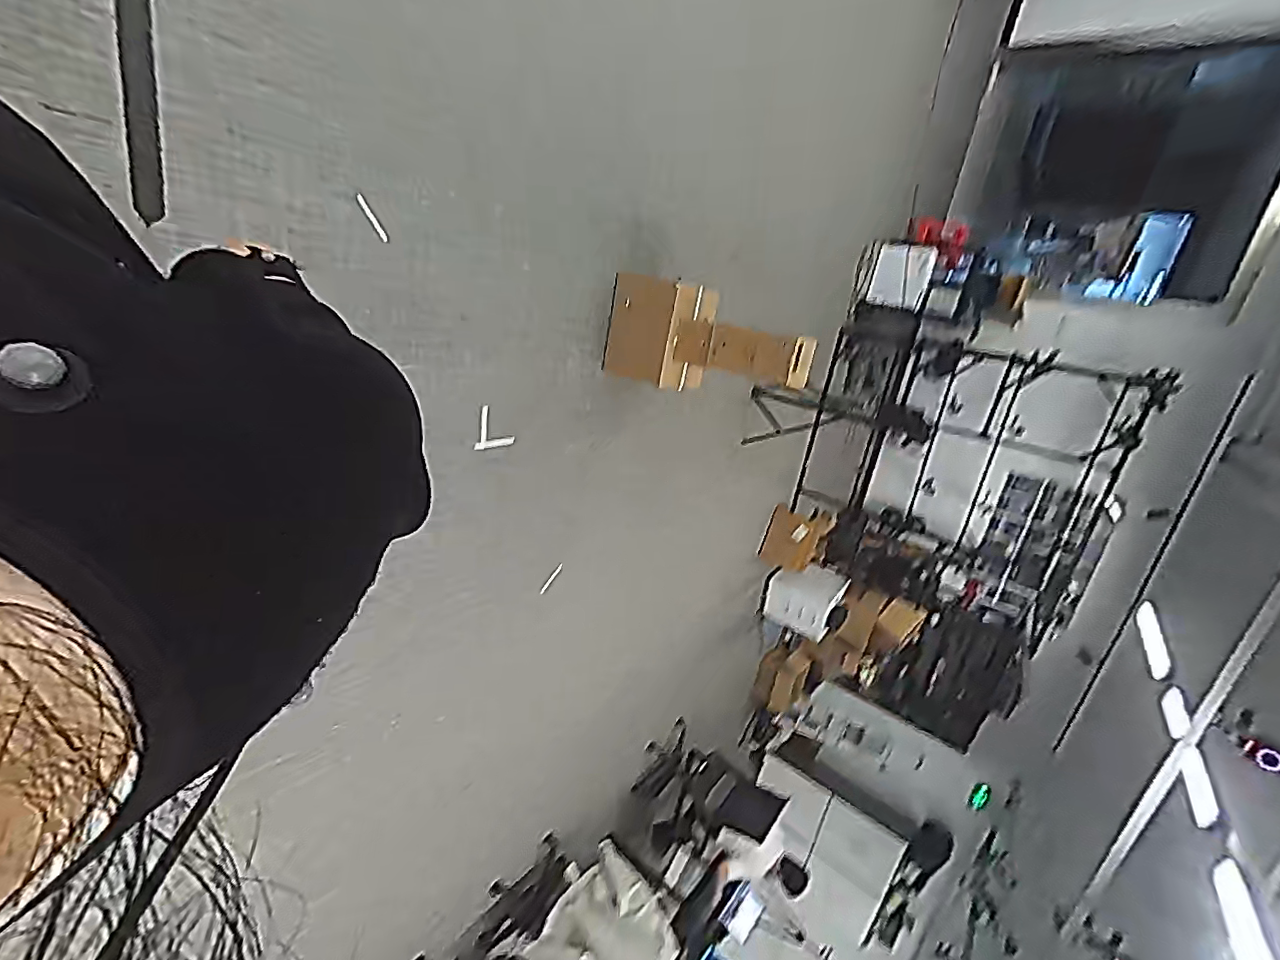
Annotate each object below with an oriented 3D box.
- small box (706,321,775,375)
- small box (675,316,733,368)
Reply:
[{"bbox_3d":[0.375,-0.494,2.021,0.179,0.176,0.168,-13,118,-49],"label":"small box"},{"bbox_3d":[0.254,-0.542,2.118,0.168,0.176,0.179,-14,121,-49],"label":"small box"}]
